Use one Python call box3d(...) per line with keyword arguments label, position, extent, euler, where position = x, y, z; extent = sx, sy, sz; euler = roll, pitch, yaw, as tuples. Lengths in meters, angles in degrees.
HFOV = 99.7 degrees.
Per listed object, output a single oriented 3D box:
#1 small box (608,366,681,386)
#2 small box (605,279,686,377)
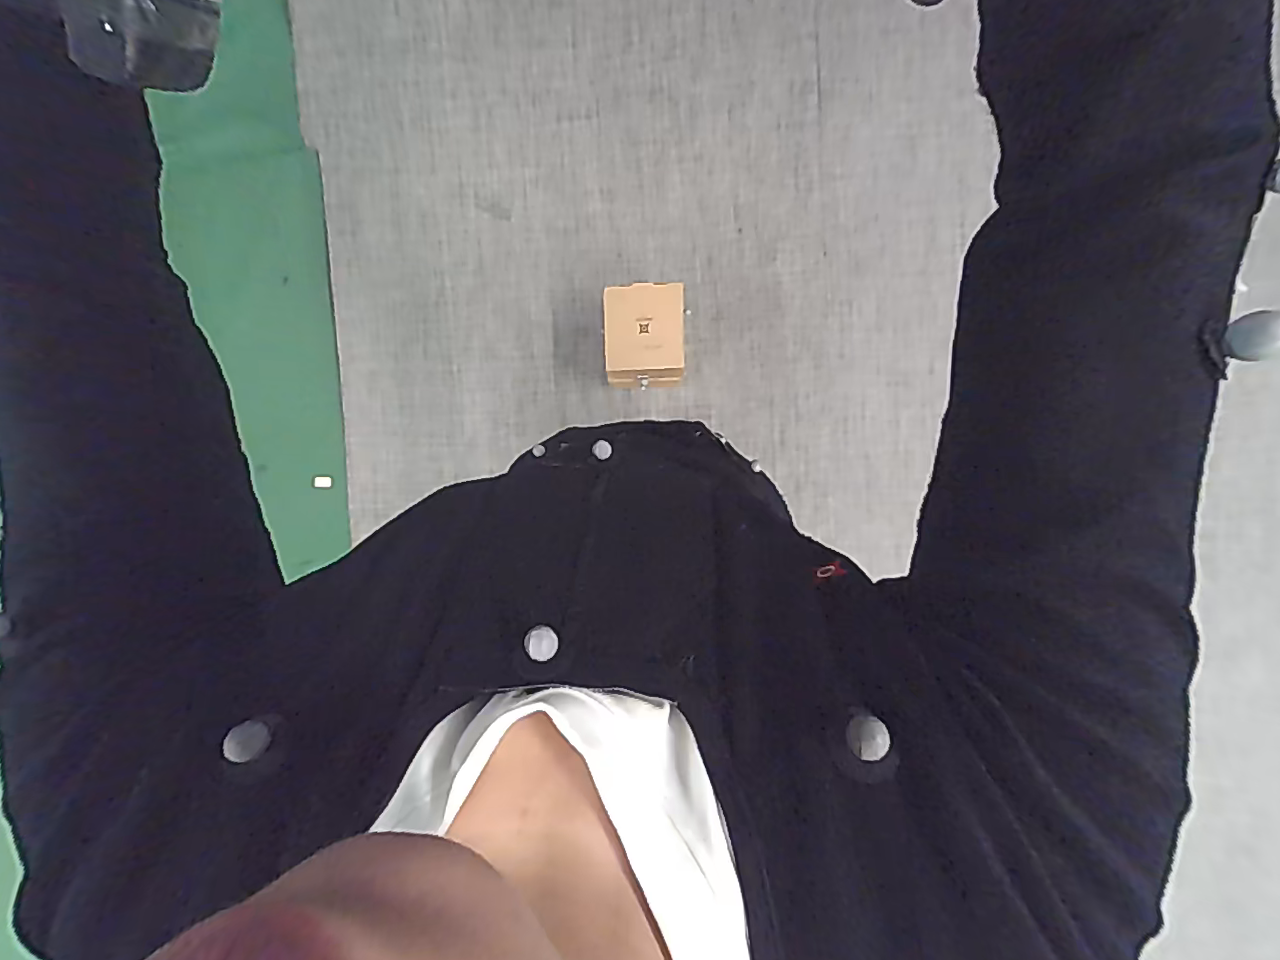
box3d(label="small box", position=(0.015, -0.329, 1.361), extent=(0.179, 0.176, 0.168), euler=(-1, 93, 5))
box3d(label="small box", position=(0.017, -0.328, 1.199), extent=(0.168, 0.176, 0.179), euler=(-2, 94, 6))
